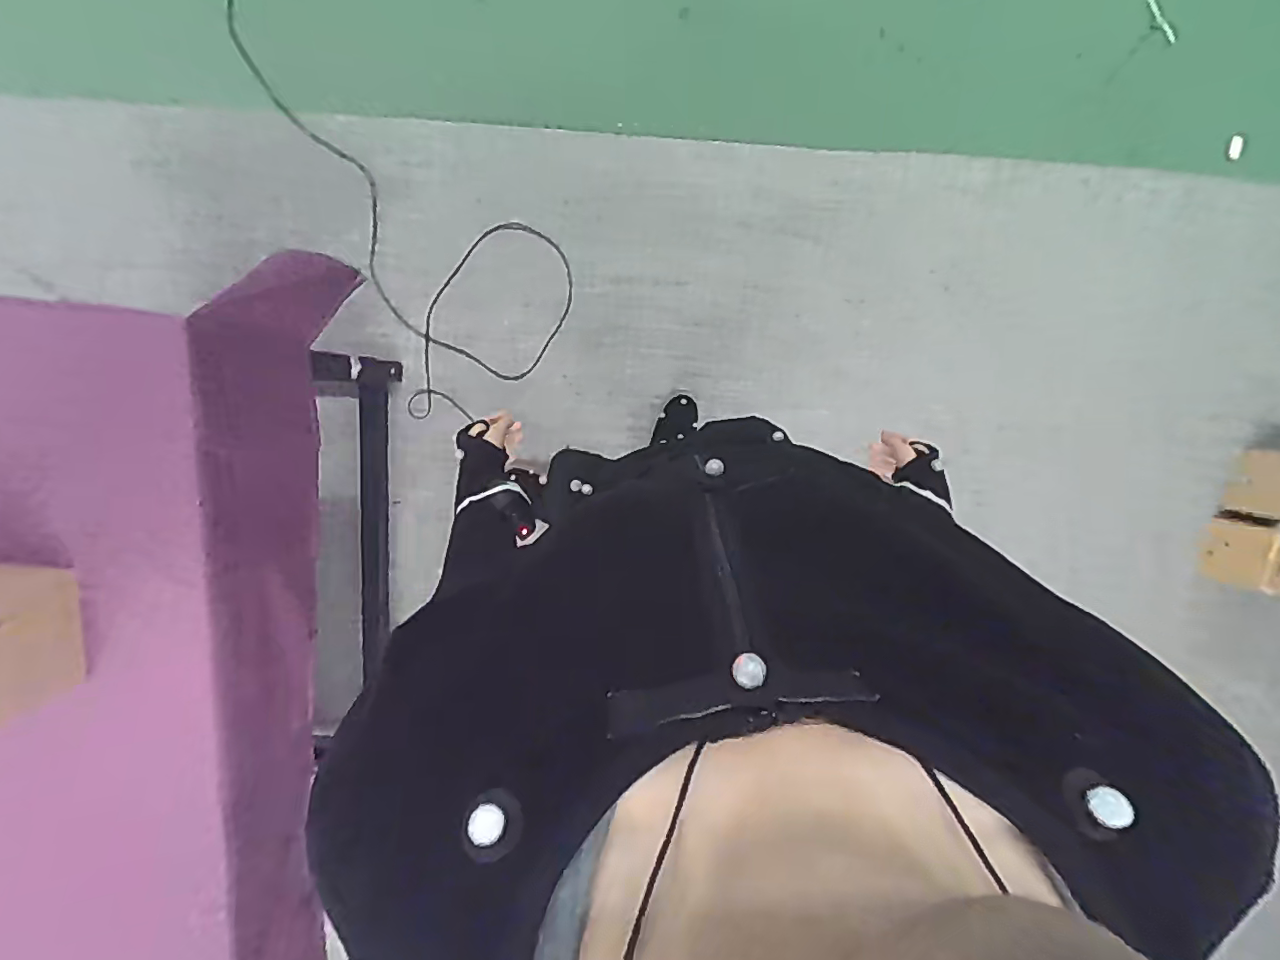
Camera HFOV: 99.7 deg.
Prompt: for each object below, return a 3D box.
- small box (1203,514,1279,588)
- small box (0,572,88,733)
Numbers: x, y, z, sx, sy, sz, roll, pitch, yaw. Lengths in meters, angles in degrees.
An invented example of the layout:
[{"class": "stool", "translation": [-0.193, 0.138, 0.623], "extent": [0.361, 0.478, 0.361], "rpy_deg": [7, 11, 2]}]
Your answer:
[{"class": "small box", "translation": [1.726, 0.193, 1.480], "extent": [0.179, 0.176, 0.168], "rpy_deg": [3, 99, 0]}, {"class": "small box", "translation": [-0.881, 0.224, 0.702], "extent": [0.168, 0.176, 0.179], "rpy_deg": [5, 99, -1]}]
